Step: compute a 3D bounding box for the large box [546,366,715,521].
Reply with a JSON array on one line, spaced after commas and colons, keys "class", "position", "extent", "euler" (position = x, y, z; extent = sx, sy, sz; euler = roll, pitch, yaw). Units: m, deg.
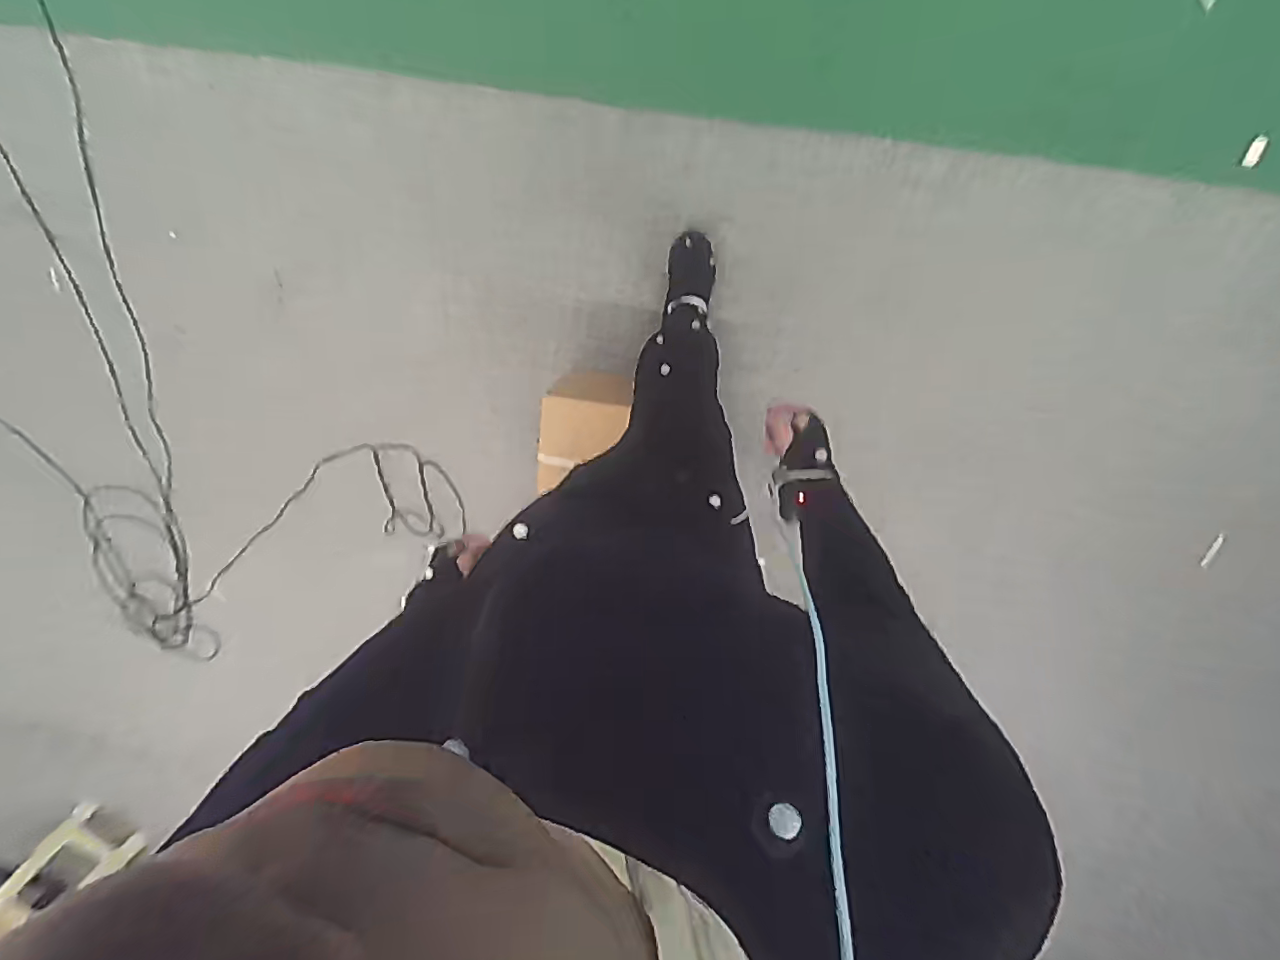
[{"class": "large box", "position": [-0.023, -0.113, 1.457], "extent": [0.408, 0.320, 0.320], "euler": [7, 114, 2]}]
